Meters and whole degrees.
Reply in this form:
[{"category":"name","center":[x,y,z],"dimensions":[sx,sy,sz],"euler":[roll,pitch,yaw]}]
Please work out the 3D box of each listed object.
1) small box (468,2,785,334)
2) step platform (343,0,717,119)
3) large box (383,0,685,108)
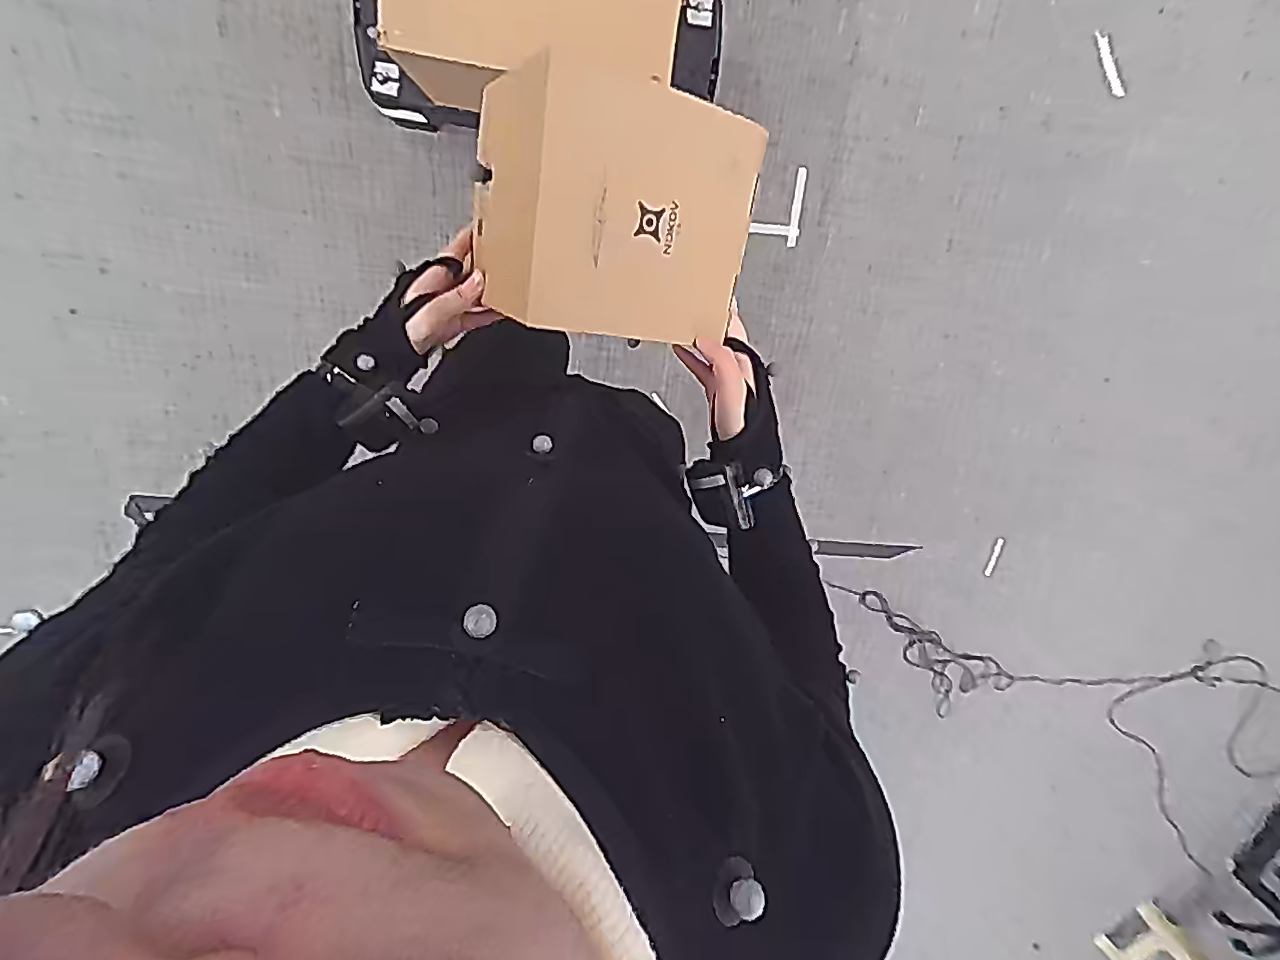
[{"category":"small box","center":[-0.023,-0.223,0.432],"dimensions":[0.179,0.176,0.168],"euler":[-1,112,-32]},{"category":"step platform","center":[-0.197,-0.833,1.061],"dimensions":[0.684,0.204,0.286],"euler":[10,111,-9]},{"category":"large box","center":[-0.141,-0.765,0.836],"dimensions":[0.408,0.320,0.320],"euler":[5,111,-7]}]
